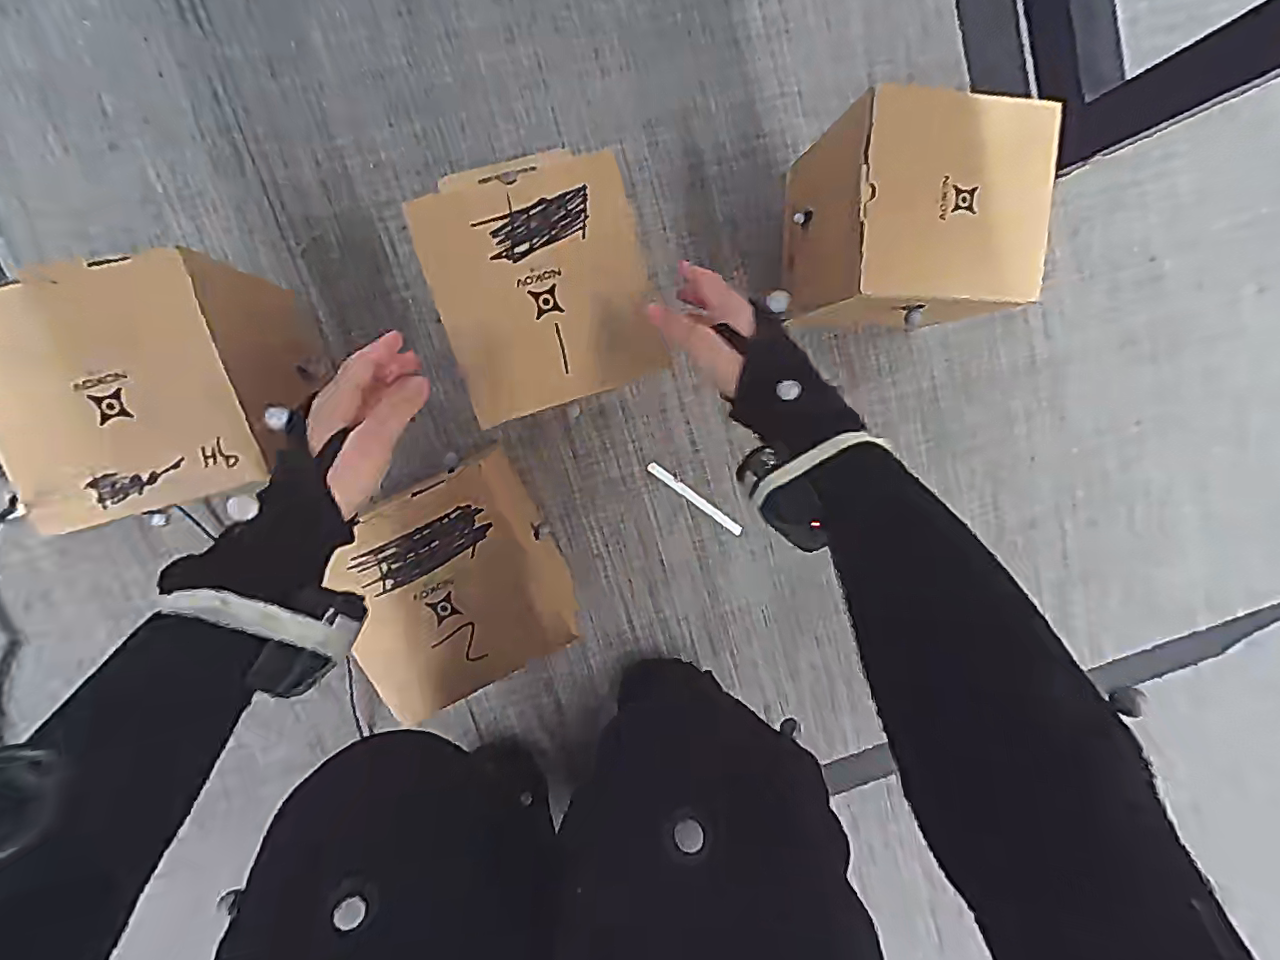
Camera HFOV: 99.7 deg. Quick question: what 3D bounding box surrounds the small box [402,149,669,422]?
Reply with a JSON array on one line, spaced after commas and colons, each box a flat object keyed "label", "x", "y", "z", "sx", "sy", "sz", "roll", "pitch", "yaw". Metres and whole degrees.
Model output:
[{"label": "small box", "x": -0.089, "y": -0.159, "z": 0.497, "sx": 0.168, "sy": 0.176, "sz": 0.179, "roll": -18, "pitch": 101, "yaw": -5}]

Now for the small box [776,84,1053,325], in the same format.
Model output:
[{"label": "small box", "x": 0.253, "y": -0.251, "z": 0.538, "sx": 0.179, "sy": 0.176, "sz": 0.168, "roll": -1, "pitch": 98, "yaw": -8}]

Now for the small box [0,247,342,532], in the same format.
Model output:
[{"label": "small box", "x": -0.392, "y": -0.072, "z": 0.464, "sx": 0.168, "sy": 0.176, "sz": 0.179, "roll": -16, "pitch": 98, "yaw": -7}]
